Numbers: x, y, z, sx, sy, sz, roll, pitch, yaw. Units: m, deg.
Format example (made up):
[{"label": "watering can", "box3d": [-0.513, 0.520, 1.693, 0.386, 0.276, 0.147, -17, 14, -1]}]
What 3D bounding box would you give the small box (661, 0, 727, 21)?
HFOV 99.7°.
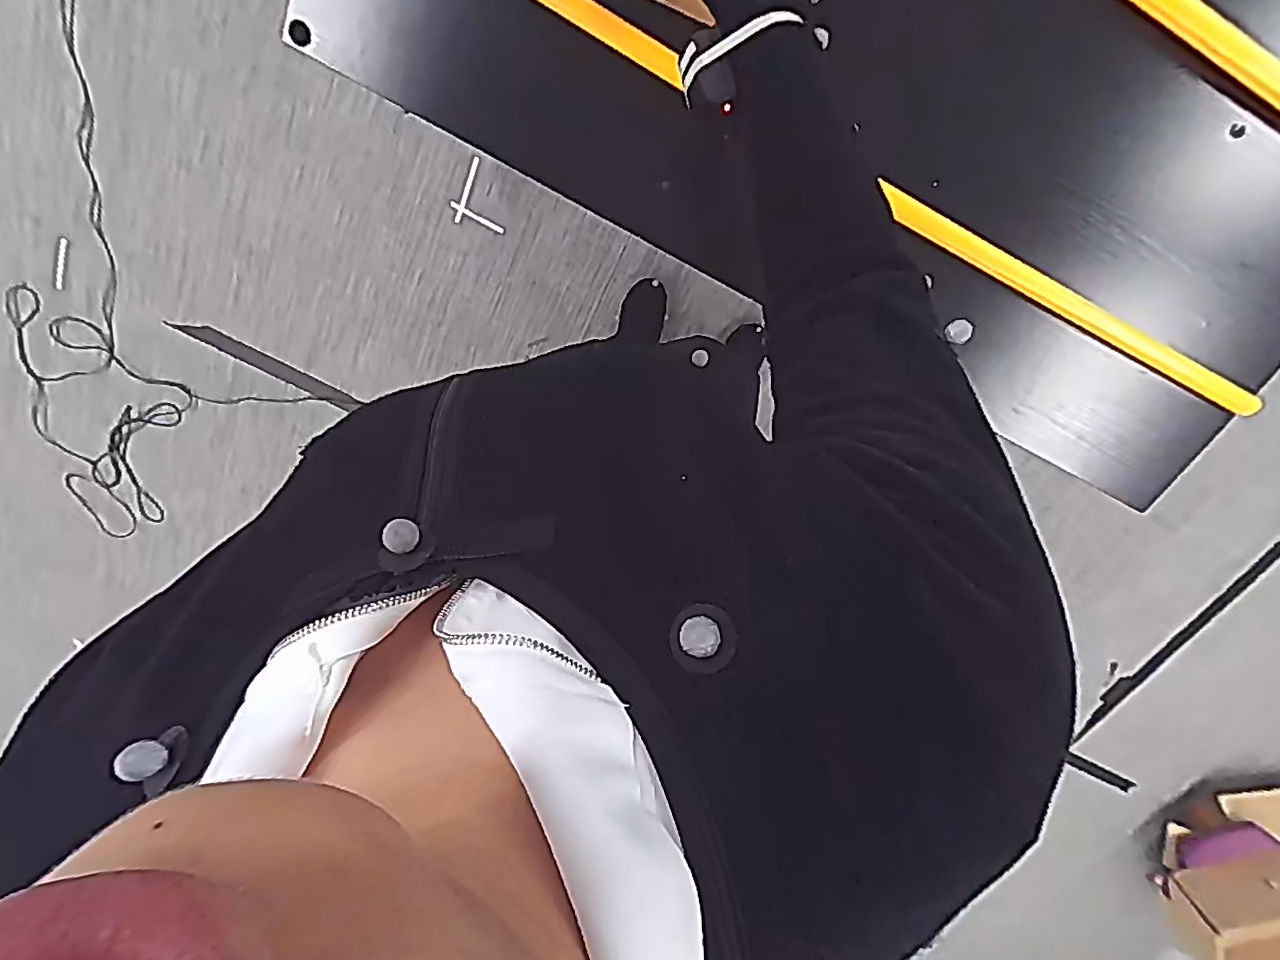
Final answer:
[{"label": "small box", "box3d": [0.035, -0.546, 0.450, 0.168, 0.176, 0.179, 21, 112, -6]}]
